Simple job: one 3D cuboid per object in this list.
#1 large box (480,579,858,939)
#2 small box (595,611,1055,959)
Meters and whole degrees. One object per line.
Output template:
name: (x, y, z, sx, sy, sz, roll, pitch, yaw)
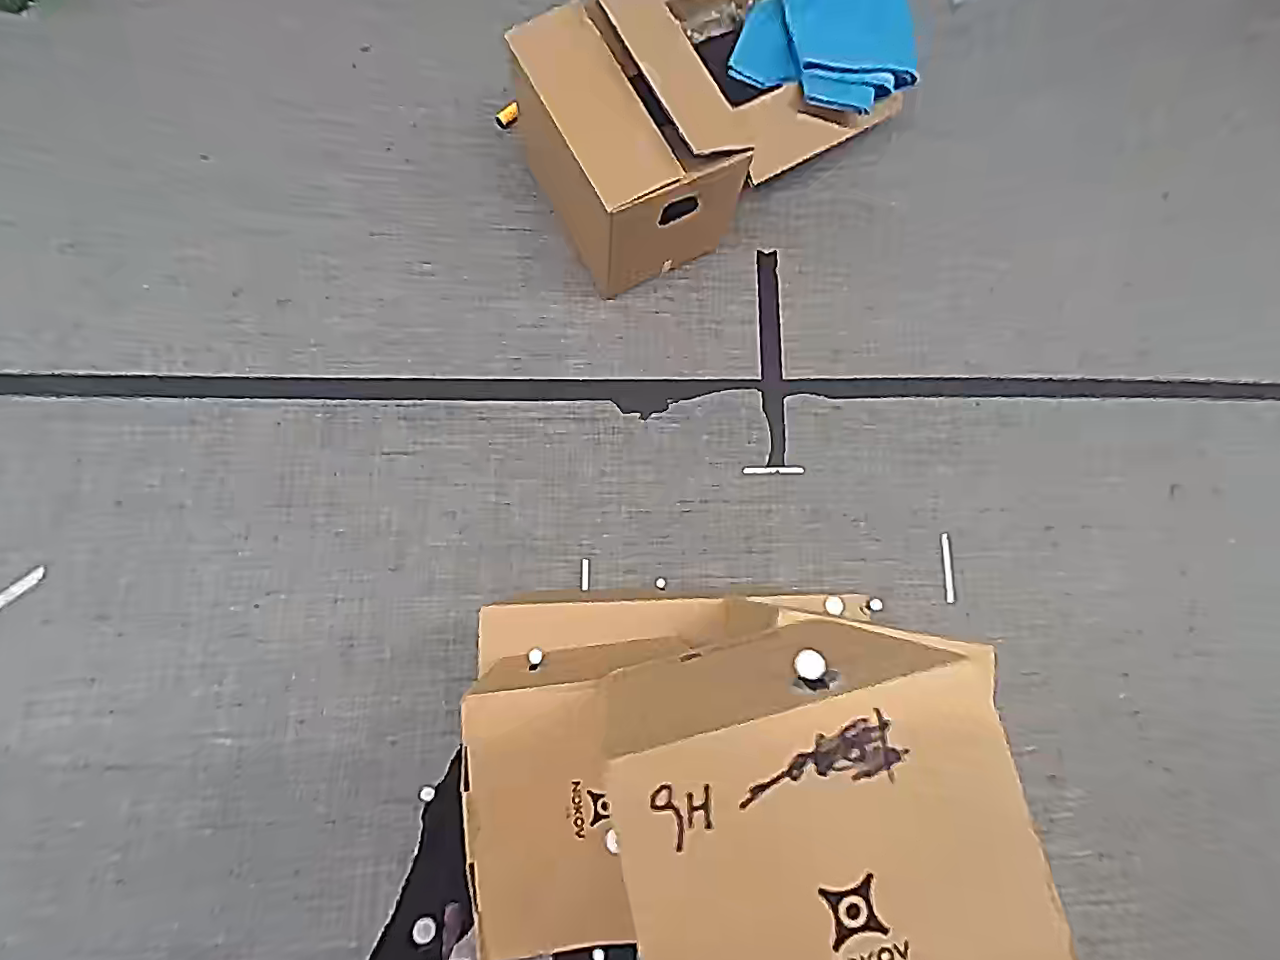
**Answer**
large box: (0.028, 0.294, 0.689, 0.408, 0.320, 0.320, -2, 81, -5)
small box: (0.075, 0.182, 0.298, 0.168, 0.176, 0.179, -13, 82, -6)
